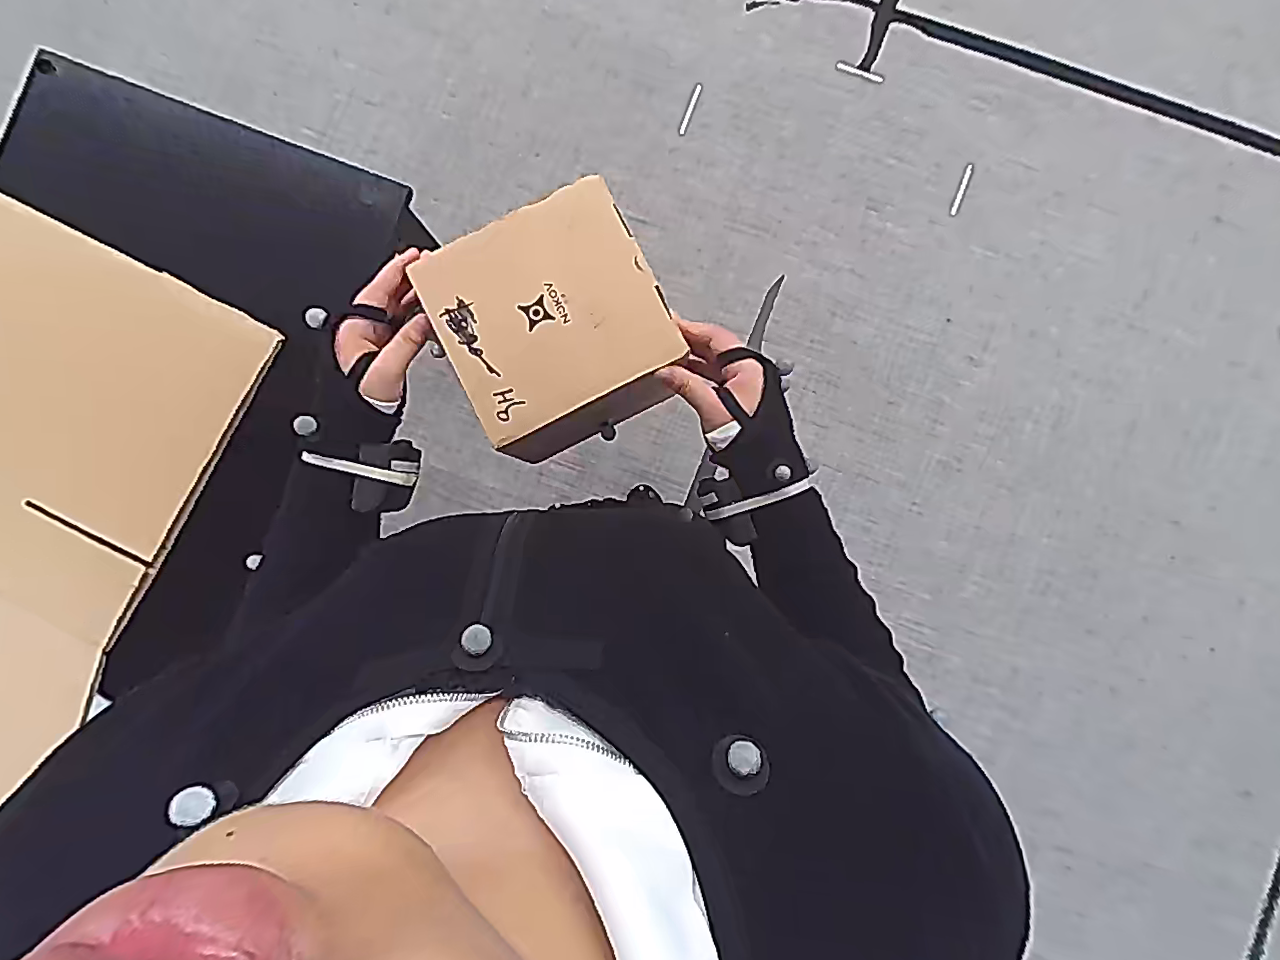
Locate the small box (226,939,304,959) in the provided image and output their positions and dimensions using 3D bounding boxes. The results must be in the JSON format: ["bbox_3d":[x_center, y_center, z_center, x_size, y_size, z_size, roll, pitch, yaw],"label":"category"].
[{"bbox_3d":[-1.014,1.336,1.383,0.179,0.176,0.168,17,88,1],"label":"small box"}]
